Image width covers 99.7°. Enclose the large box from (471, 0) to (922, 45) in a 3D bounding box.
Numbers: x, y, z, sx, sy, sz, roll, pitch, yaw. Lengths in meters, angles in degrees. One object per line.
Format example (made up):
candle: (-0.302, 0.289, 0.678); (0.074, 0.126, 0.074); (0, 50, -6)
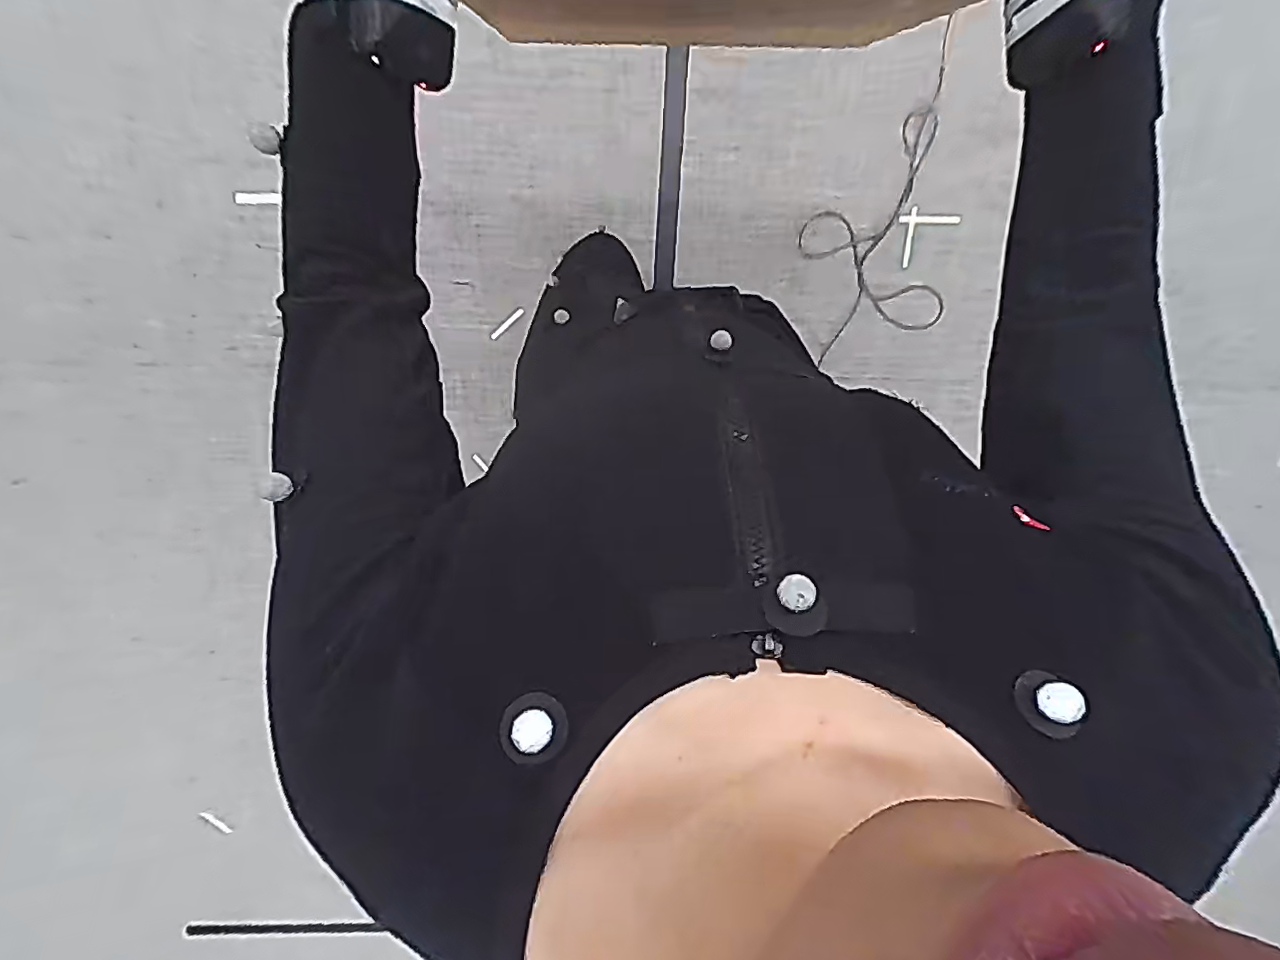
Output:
large box: (0.050, -0.549, 0.404); (0.408, 0.320, 0.320); (-2, 123, -2)
